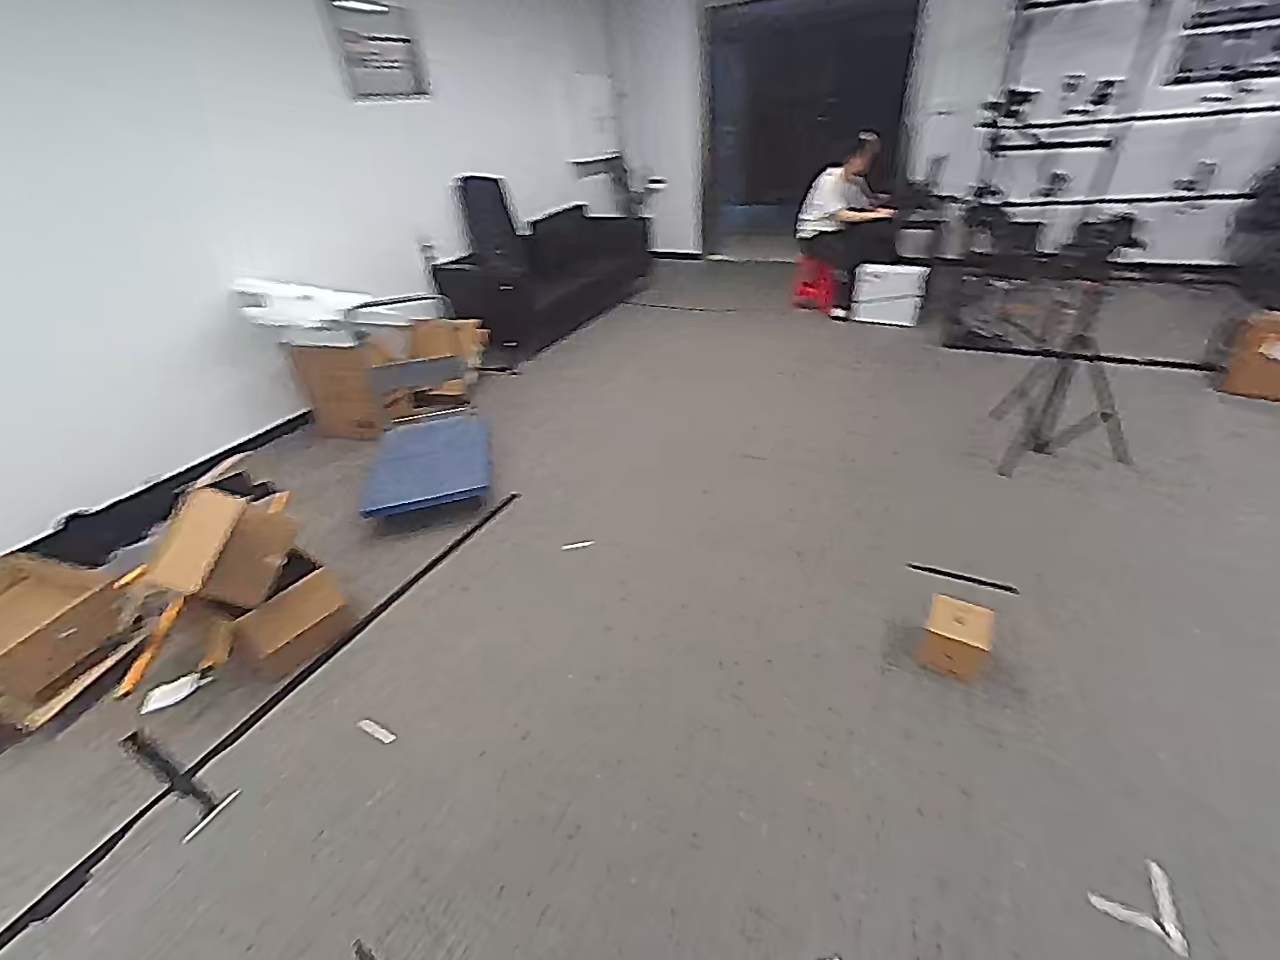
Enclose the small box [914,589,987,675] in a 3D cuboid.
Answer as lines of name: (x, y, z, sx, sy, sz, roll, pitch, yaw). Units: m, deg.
small box: (0.994, 0.491, 1.736, 0.168, 0.176, 0.179, 15, 39, 28)
